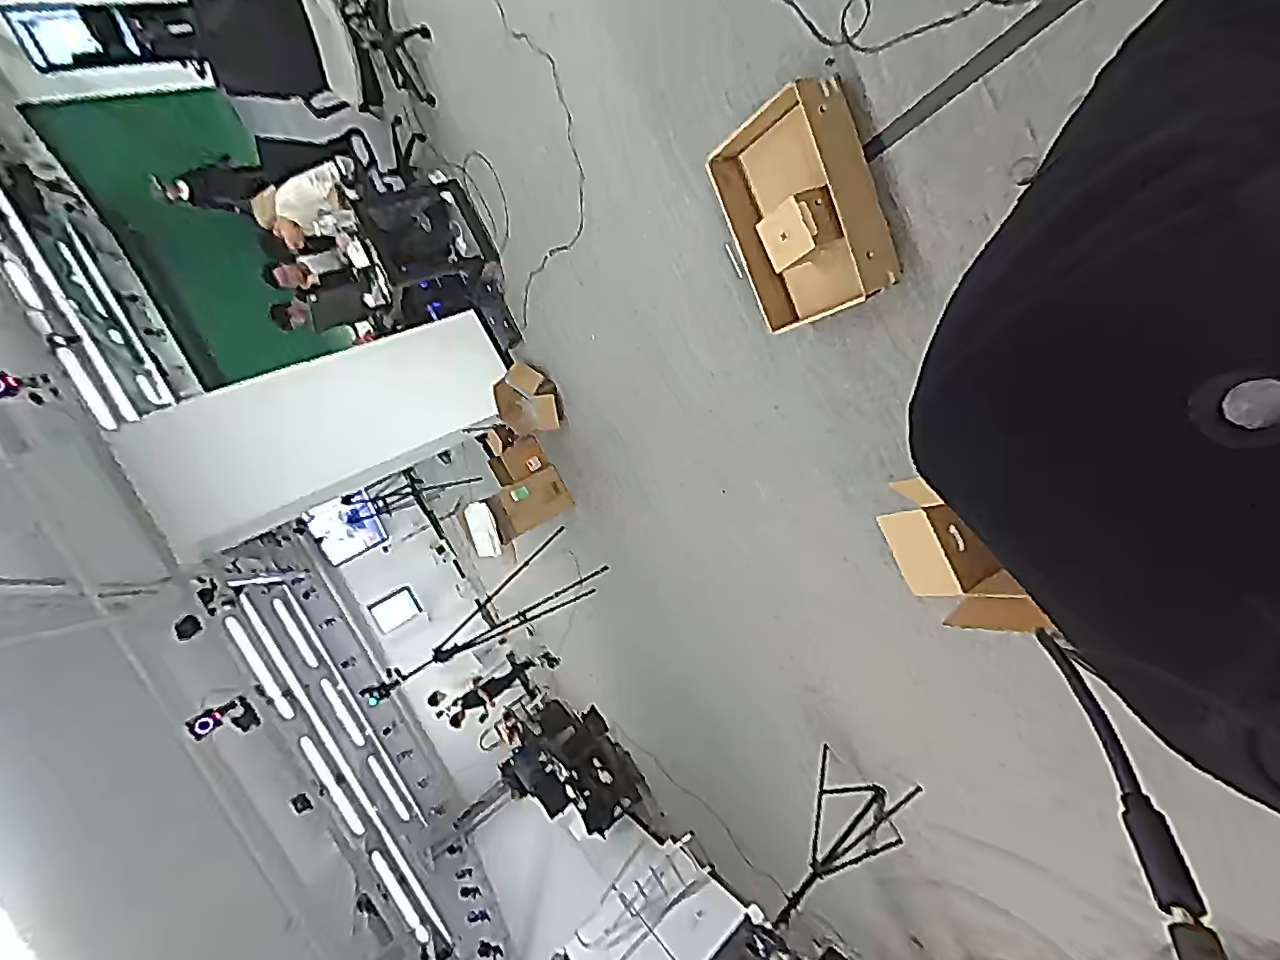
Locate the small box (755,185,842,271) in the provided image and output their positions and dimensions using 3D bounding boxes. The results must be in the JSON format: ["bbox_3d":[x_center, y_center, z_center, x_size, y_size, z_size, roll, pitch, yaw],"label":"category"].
[{"bbox_3d":[0.496,-0.778,1.668,0.179,0.176,0.168,-15,102,62],"label":"small box"}]
